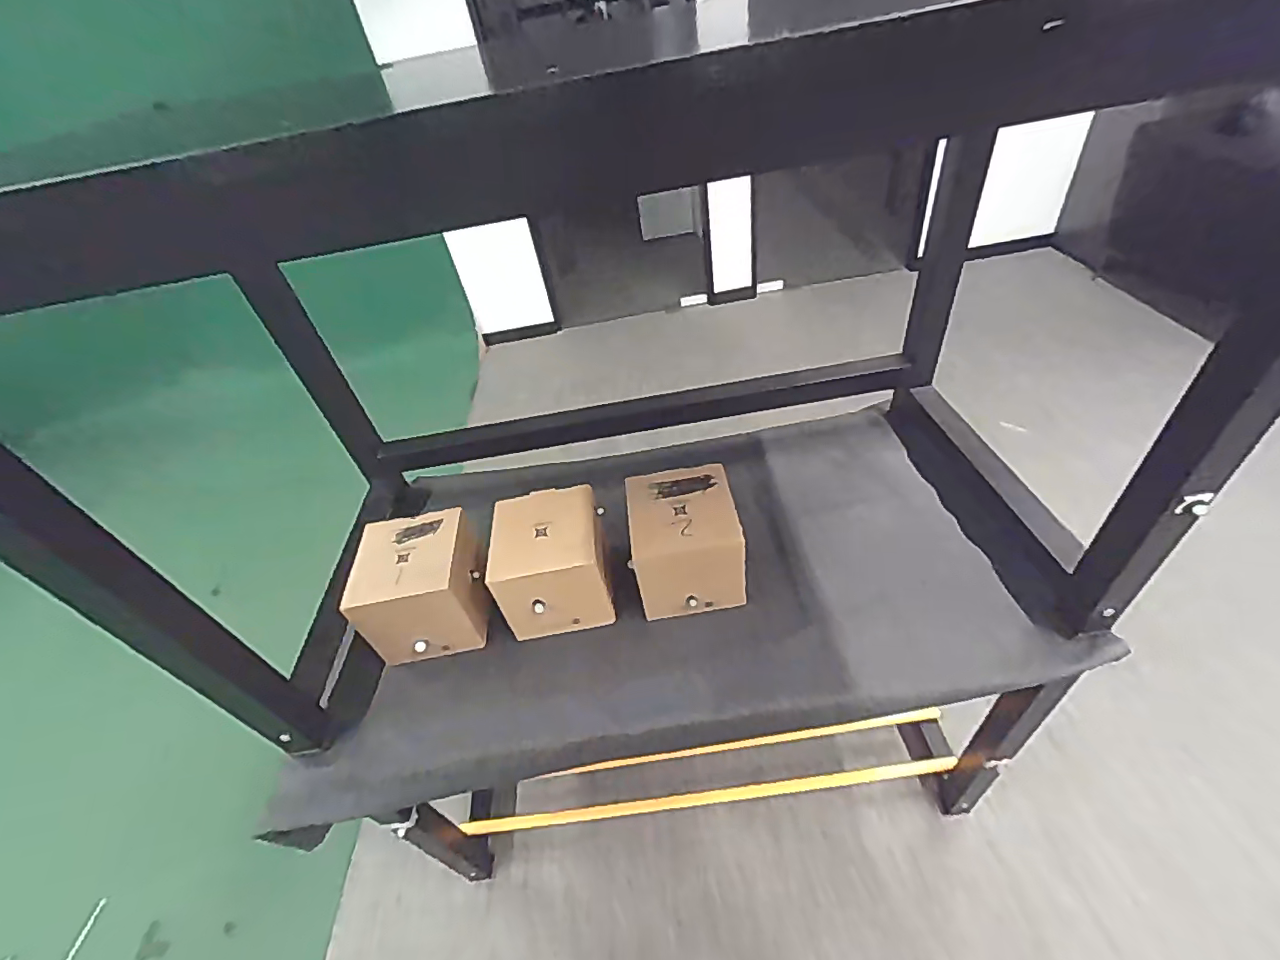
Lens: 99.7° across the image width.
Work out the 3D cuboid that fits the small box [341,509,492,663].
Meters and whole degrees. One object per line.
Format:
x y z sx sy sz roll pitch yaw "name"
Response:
-0.358 0.177 0.906 0.168 0.176 0.179 -11 42 1 "small box"
